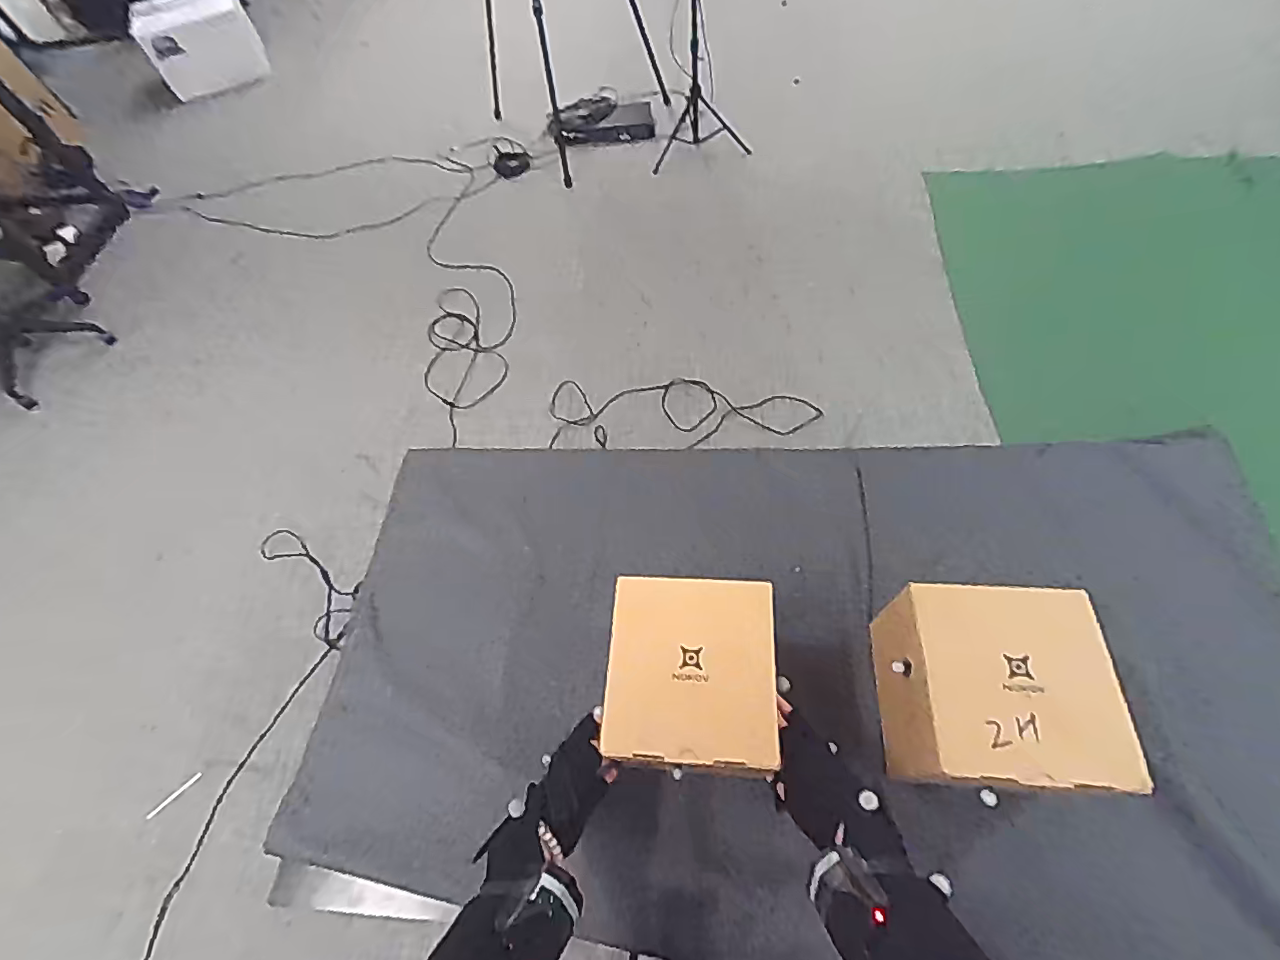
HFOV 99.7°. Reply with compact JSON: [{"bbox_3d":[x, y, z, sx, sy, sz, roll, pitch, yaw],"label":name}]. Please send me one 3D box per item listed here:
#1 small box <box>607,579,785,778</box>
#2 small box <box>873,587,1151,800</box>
[{"bbox_3d":[0.062,0.225,0.603,0.168,0.176,0.179,1,61,6],"label":"small box"},{"bbox_3d":[0.358,0.227,0.568,0.168,0.176,0.179,2,60,7],"label":"small box"}]
